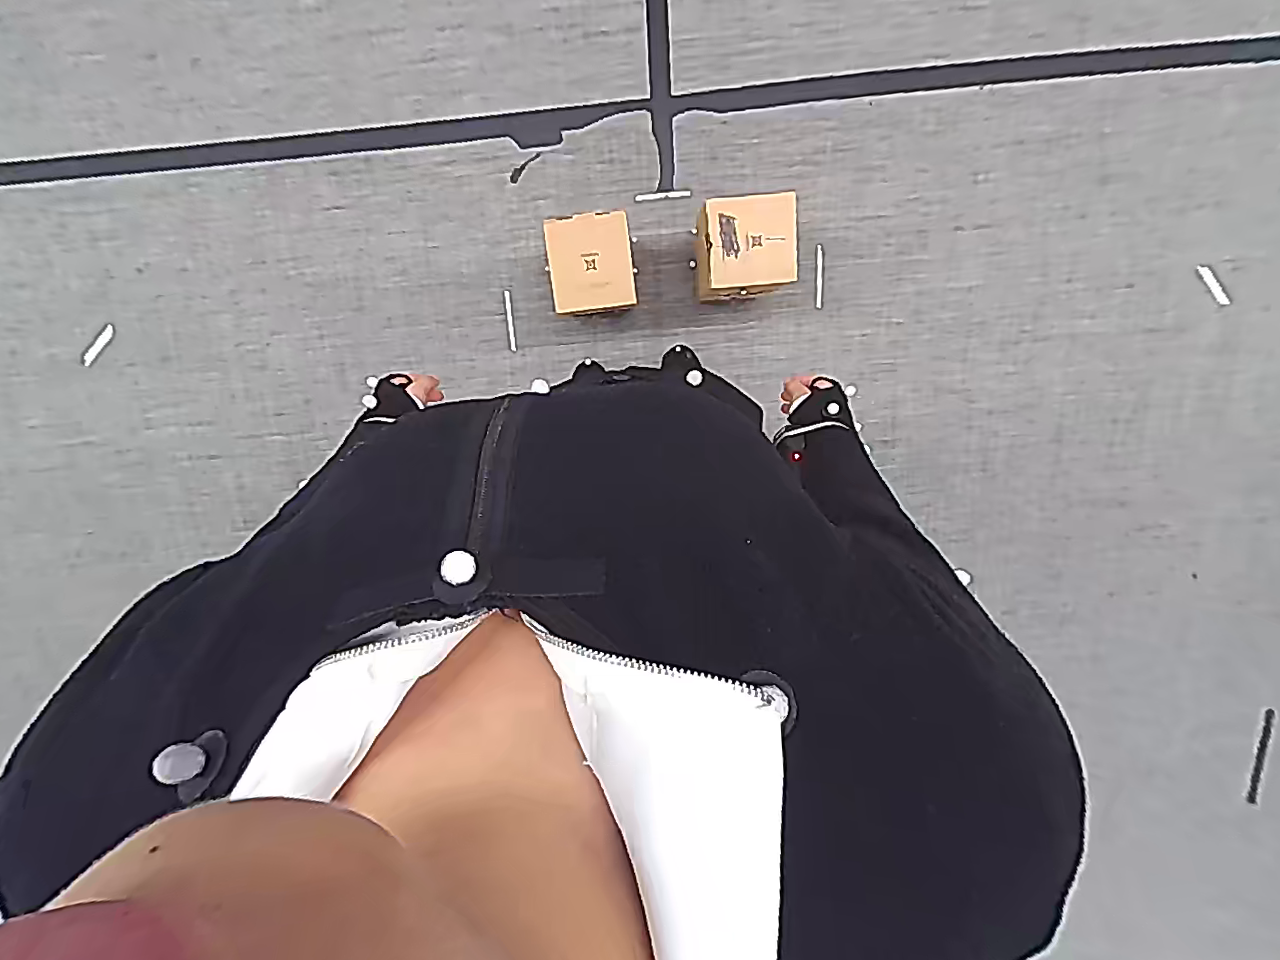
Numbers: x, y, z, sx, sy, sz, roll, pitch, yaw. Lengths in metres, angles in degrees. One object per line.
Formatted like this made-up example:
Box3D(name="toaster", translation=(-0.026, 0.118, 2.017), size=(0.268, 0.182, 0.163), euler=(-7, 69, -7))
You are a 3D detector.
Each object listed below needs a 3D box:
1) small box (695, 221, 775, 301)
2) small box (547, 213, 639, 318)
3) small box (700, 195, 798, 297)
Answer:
Box3D(name="small box", translation=(0.224, -0.523, 1.292), size=(0.168, 0.176, 0.179), euler=(-3, 106, -1))
Box3D(name="small box", translation=(-0.092, -0.444, 1.142), size=(0.168, 0.176, 0.179), euler=(-7, 106, 3))
Box3D(name="small box", translation=(0.220, -0.481, 1.133), size=(0.179, 0.176, 0.168), euler=(-5, 105, -1))
